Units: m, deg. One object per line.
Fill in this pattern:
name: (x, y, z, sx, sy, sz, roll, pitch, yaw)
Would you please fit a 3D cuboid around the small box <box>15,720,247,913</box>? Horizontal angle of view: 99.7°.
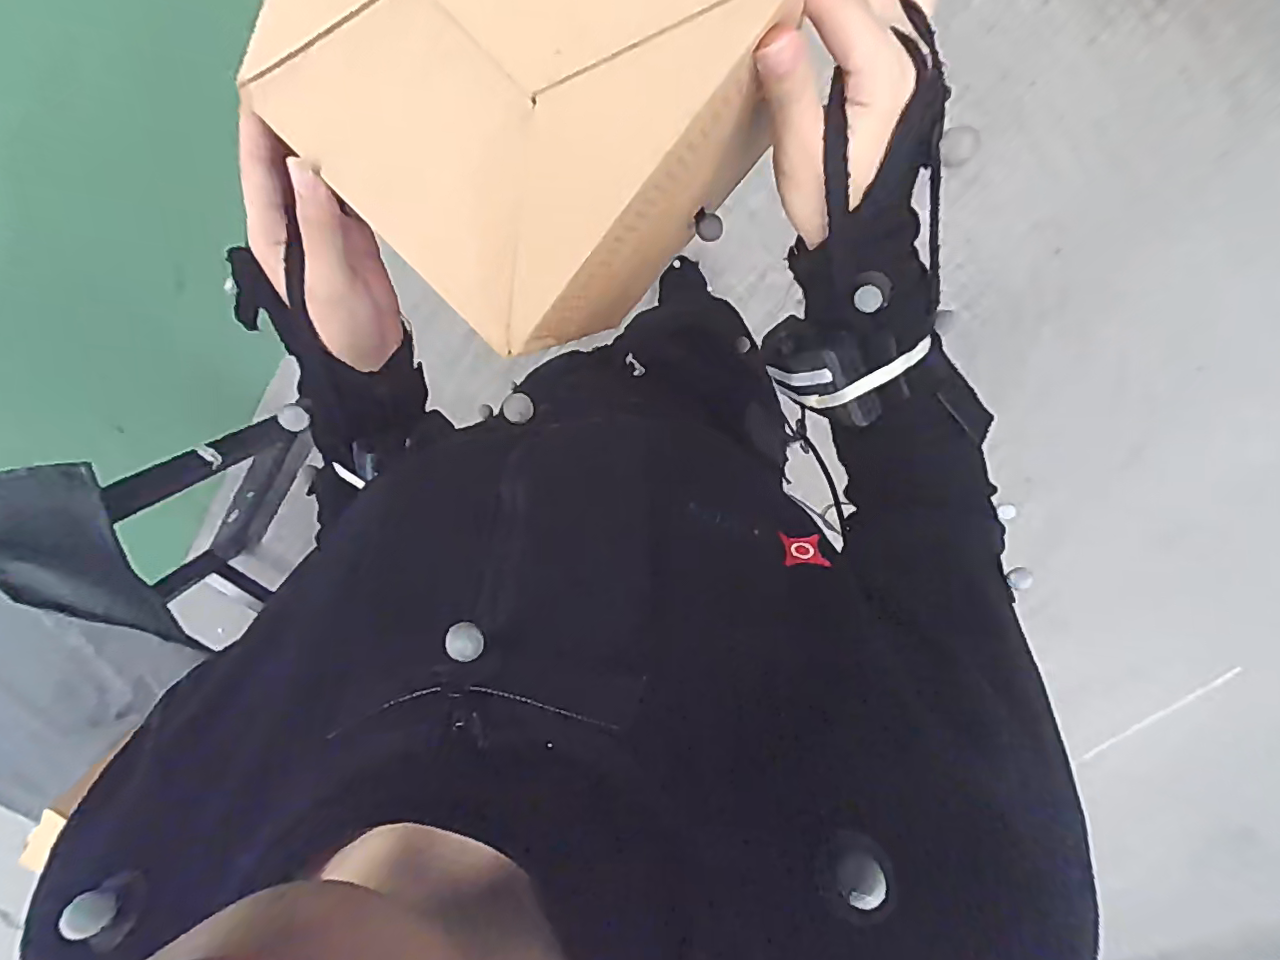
small box: (-0.772, 0.506, 0.836, 0.179, 0.176, 0.168, 39, 111, -11)
